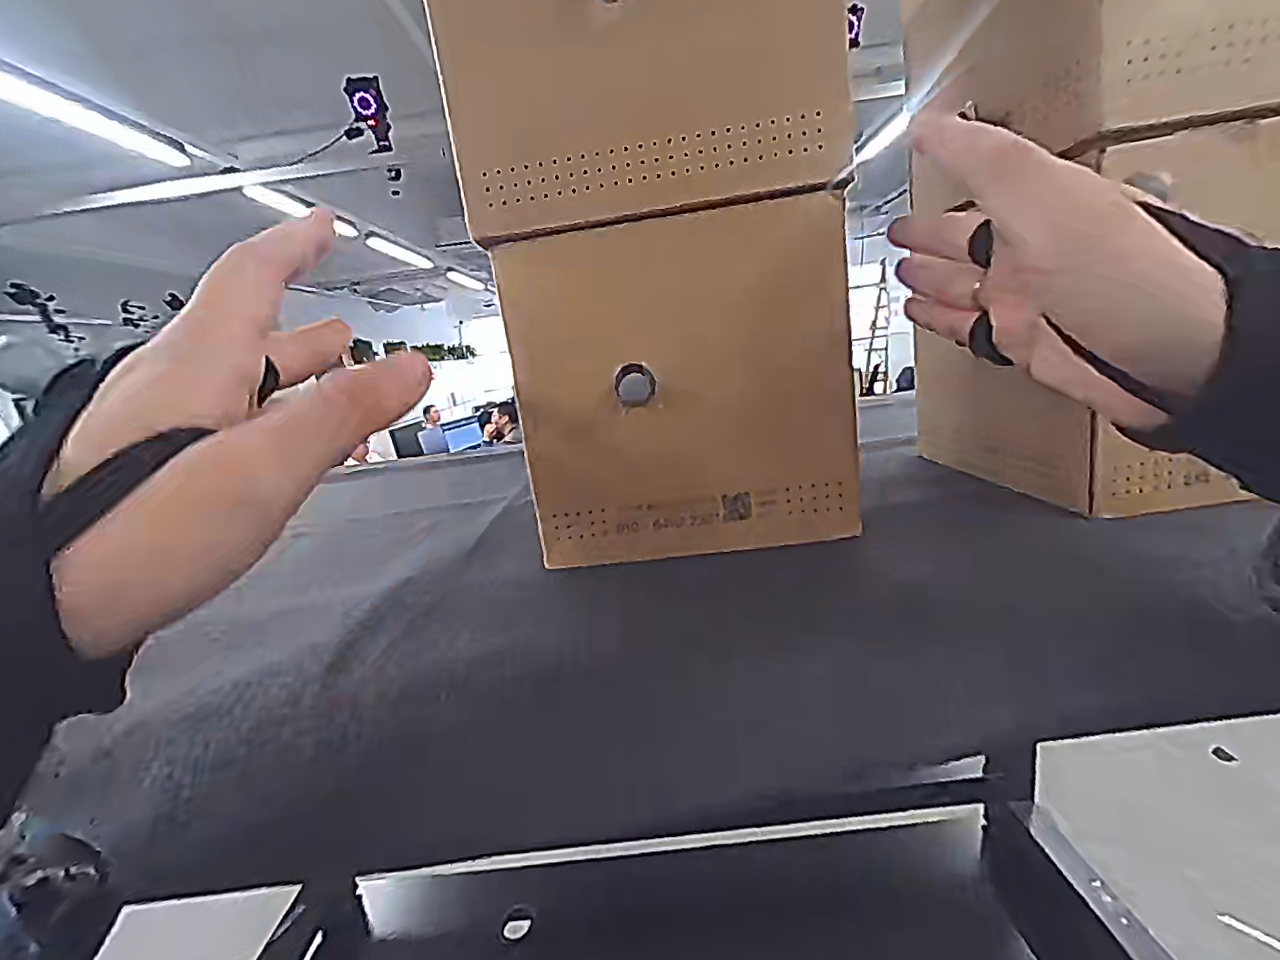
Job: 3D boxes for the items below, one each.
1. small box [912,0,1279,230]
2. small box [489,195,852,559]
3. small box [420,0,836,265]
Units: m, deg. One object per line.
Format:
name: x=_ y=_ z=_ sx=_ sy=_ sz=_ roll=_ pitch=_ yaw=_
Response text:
small box: x=0.259 y=-0.242 z=0.276 sx=0.179 sy=0.176 sz=0.168 roll=-9 pitch=11 yaw=3
small box: x=0.025 y=-0.053 z=0.343 sx=0.168 sy=0.176 sz=0.179 roll=-7 pitch=12 yaw=5
small box: x=0.001 y=-0.210 z=0.300 sx=0.179 sy=0.176 sz=0.168 roll=-8 pitch=11 yaw=5
